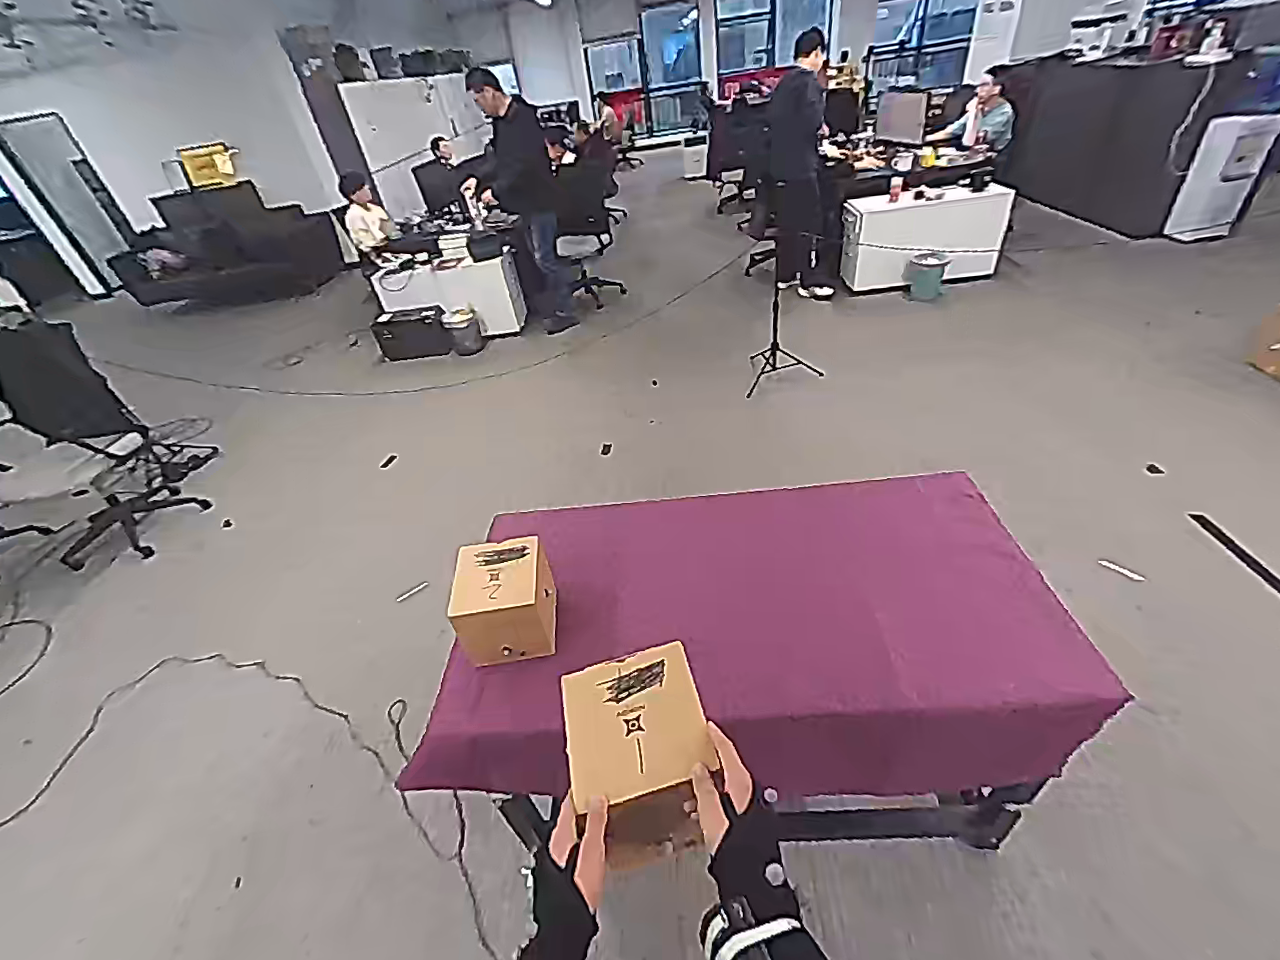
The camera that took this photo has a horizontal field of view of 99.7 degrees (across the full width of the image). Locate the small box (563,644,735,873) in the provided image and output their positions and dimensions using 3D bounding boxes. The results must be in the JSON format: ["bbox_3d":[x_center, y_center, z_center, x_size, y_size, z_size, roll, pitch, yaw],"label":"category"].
[{"bbox_3d":[0.010,0.345,0.678,0.168,0.176,0.179,-17,35,-1],"label":"small box"}]
